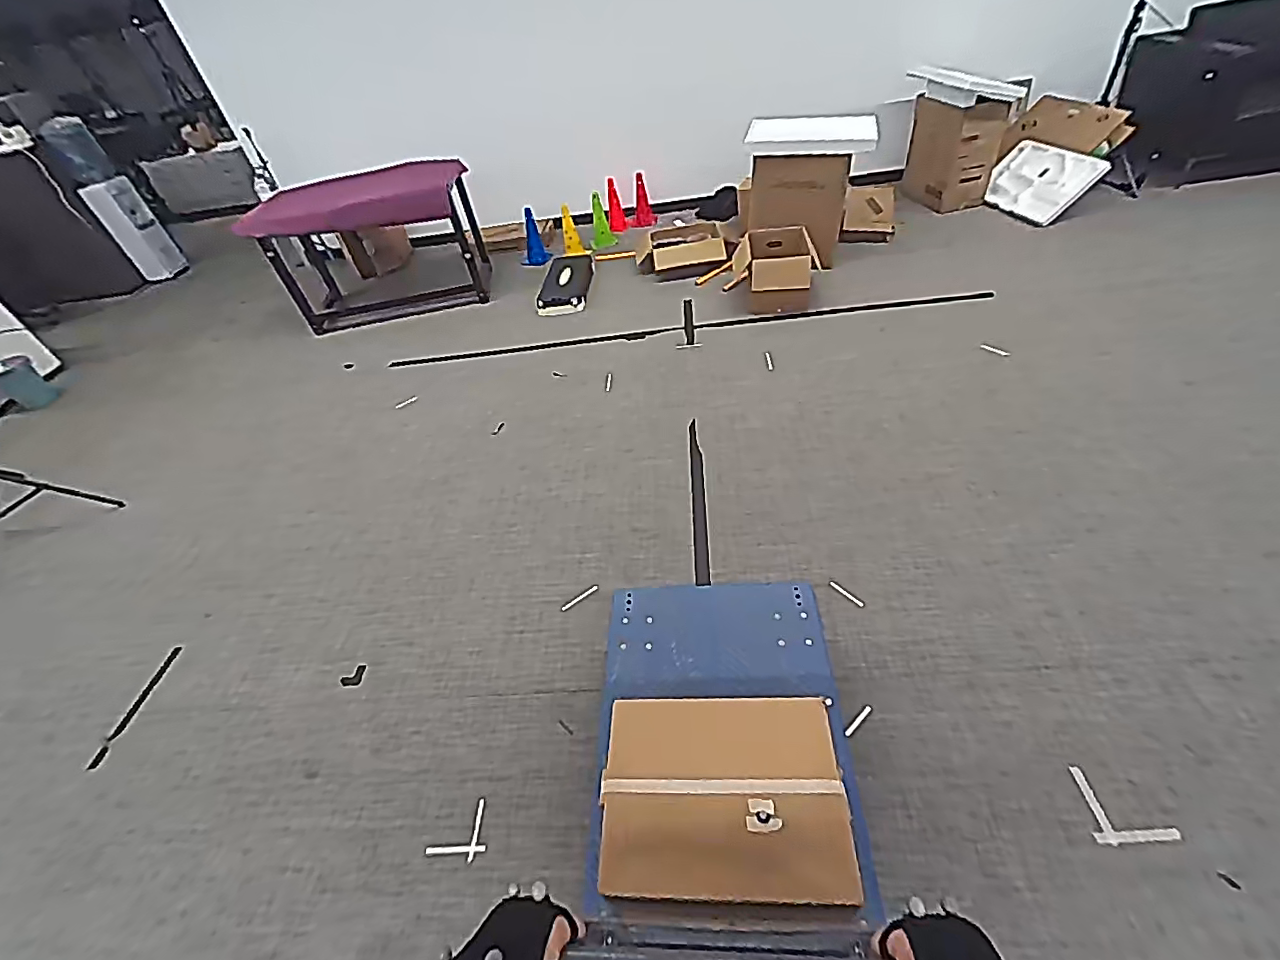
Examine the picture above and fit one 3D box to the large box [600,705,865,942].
[{"bbox_3d":[0.155,0.645,1.014,0.408,0.320,0.320,-4,44,7],"label":"large box"}]
